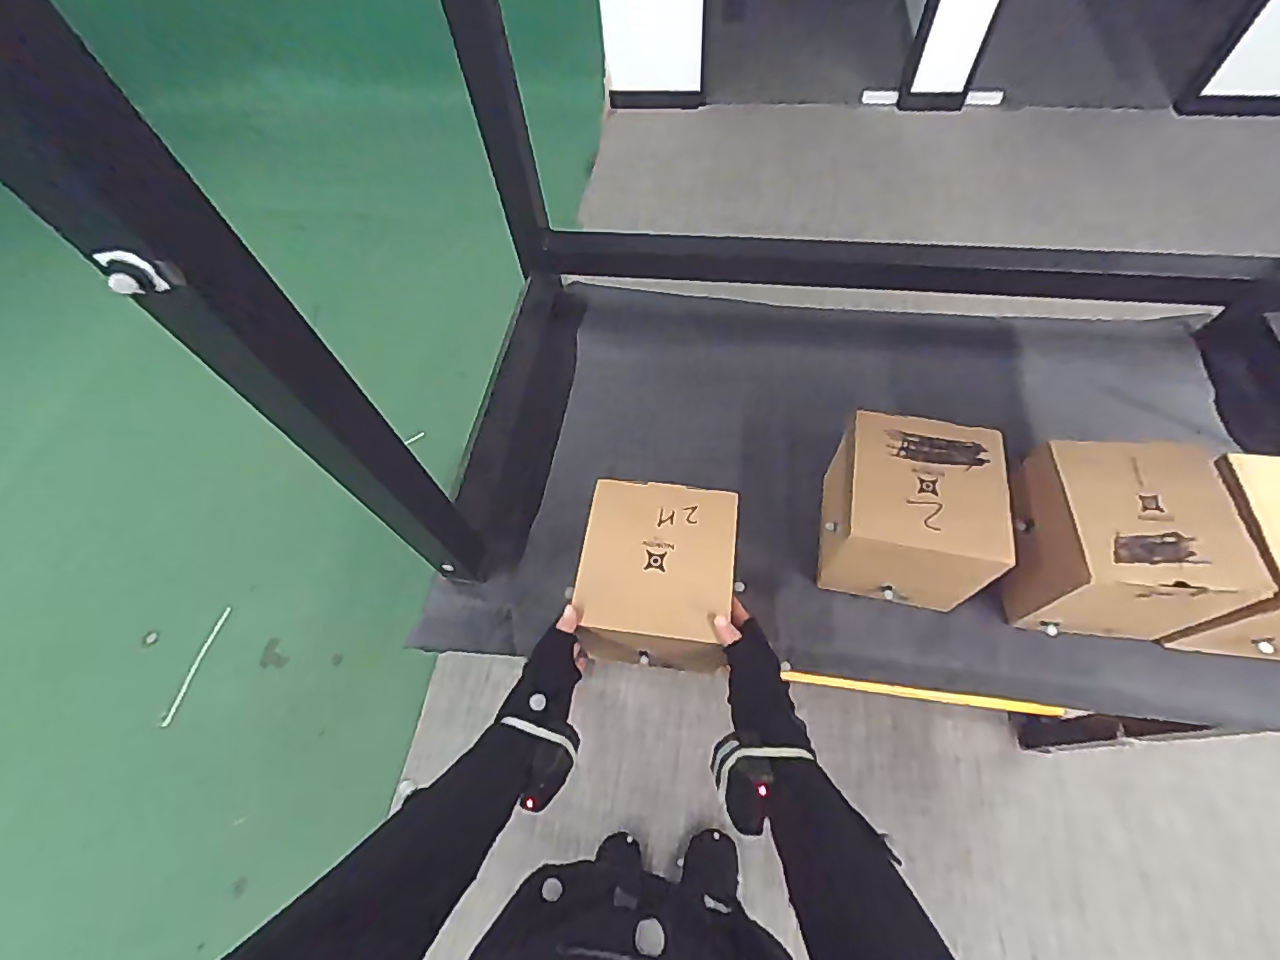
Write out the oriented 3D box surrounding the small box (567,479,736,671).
[{"bbox_3d":[0.022,0.121,0.649,0.168,0.176,0.179,6,60,6],"label":"small box"}]
